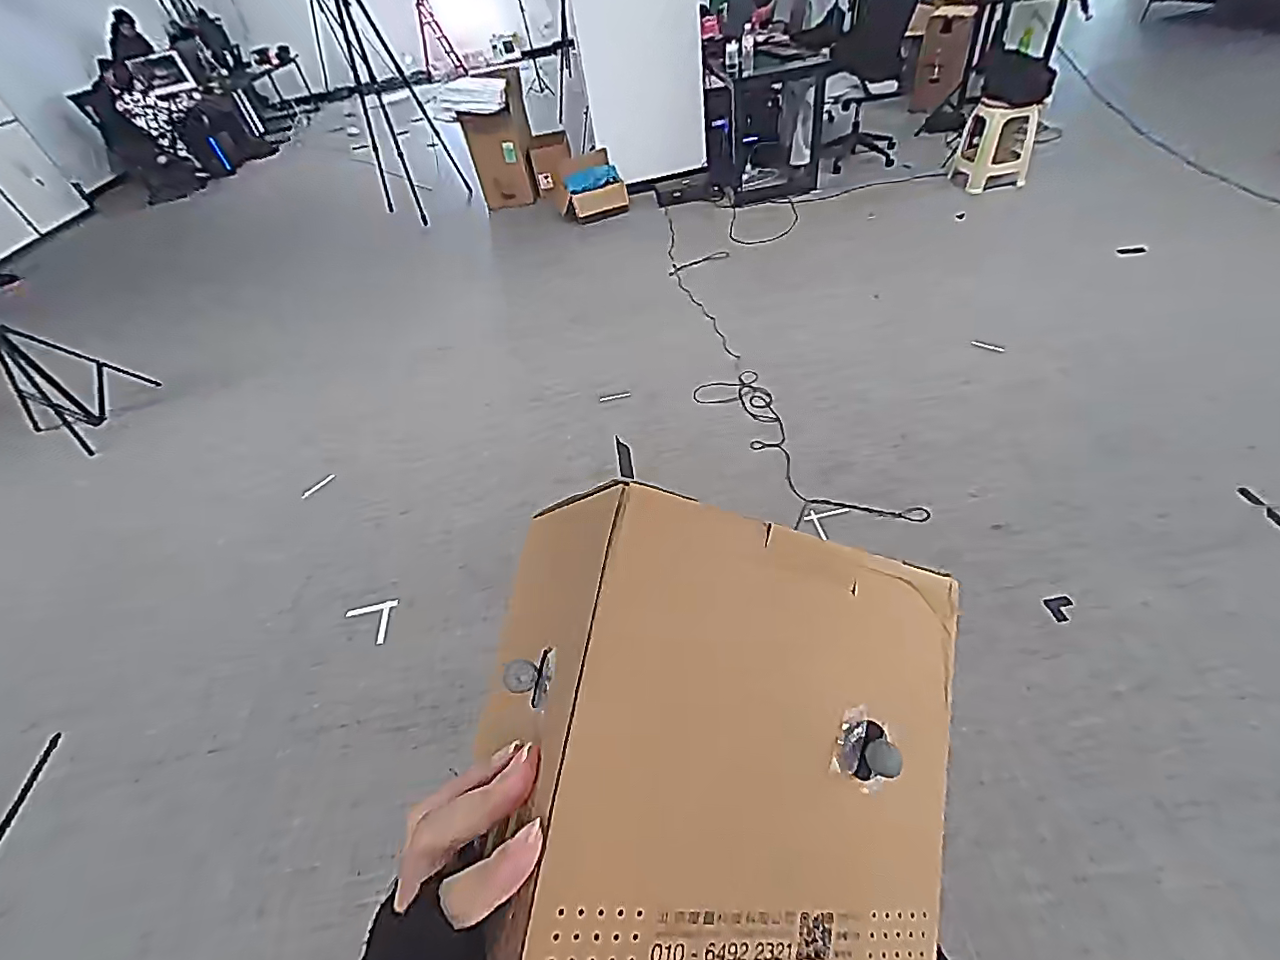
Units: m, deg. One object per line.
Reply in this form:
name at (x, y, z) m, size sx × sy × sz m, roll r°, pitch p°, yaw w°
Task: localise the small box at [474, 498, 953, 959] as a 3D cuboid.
small box at (0.022, 0.117, 0.277) m, size 0.168 × 0.179 × 0.176 m, roll 17°, pitch 76°, yaw -19°
